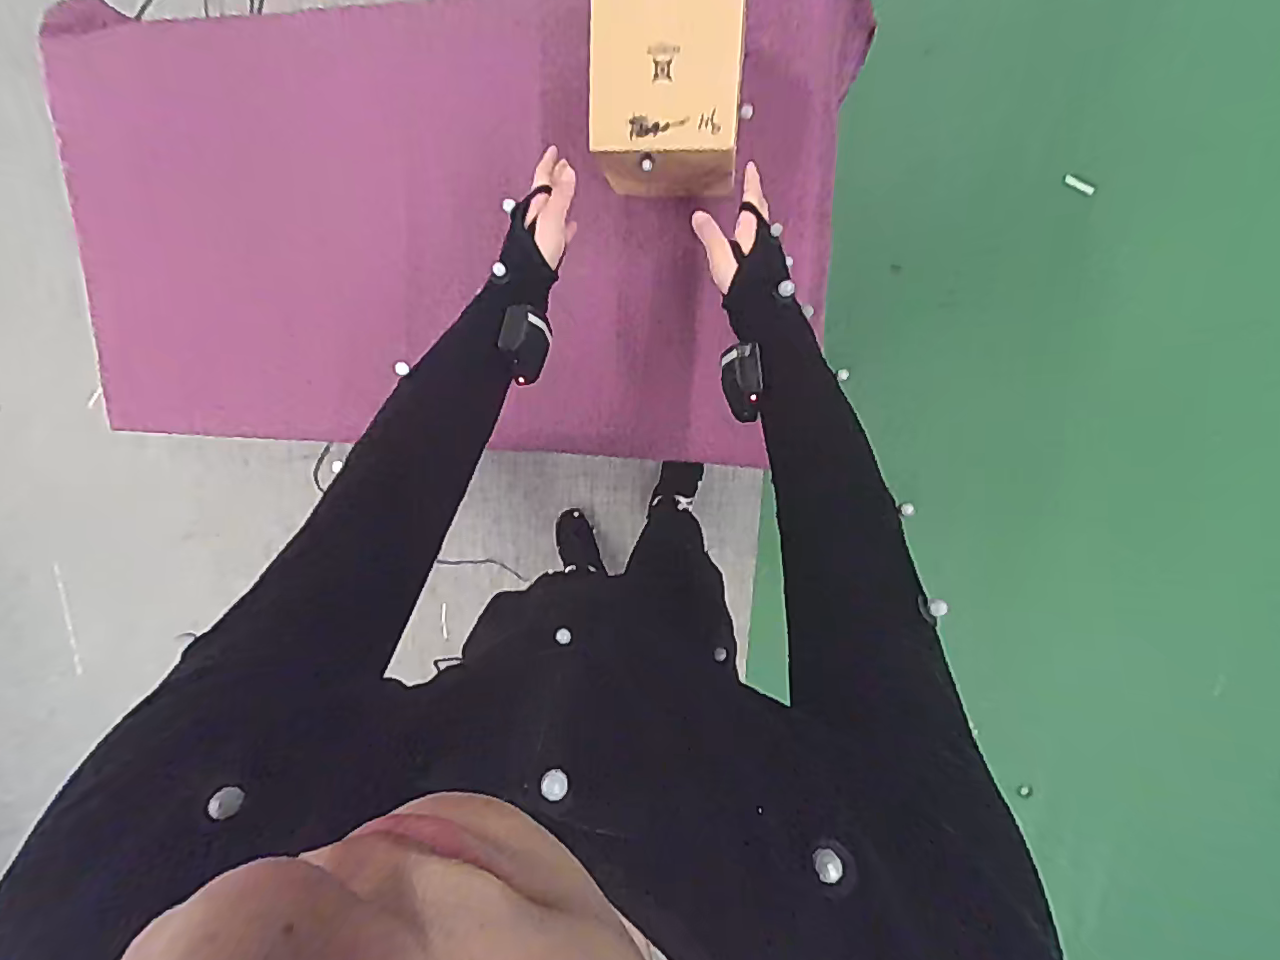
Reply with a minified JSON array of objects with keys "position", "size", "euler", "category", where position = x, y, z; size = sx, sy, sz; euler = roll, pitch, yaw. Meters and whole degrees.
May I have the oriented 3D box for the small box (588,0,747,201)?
[{"position":[0.038,-0.465,0.666],"size":[0.168,0.176,0.179],"euler":[5,103,9],"category":"small box"}]
